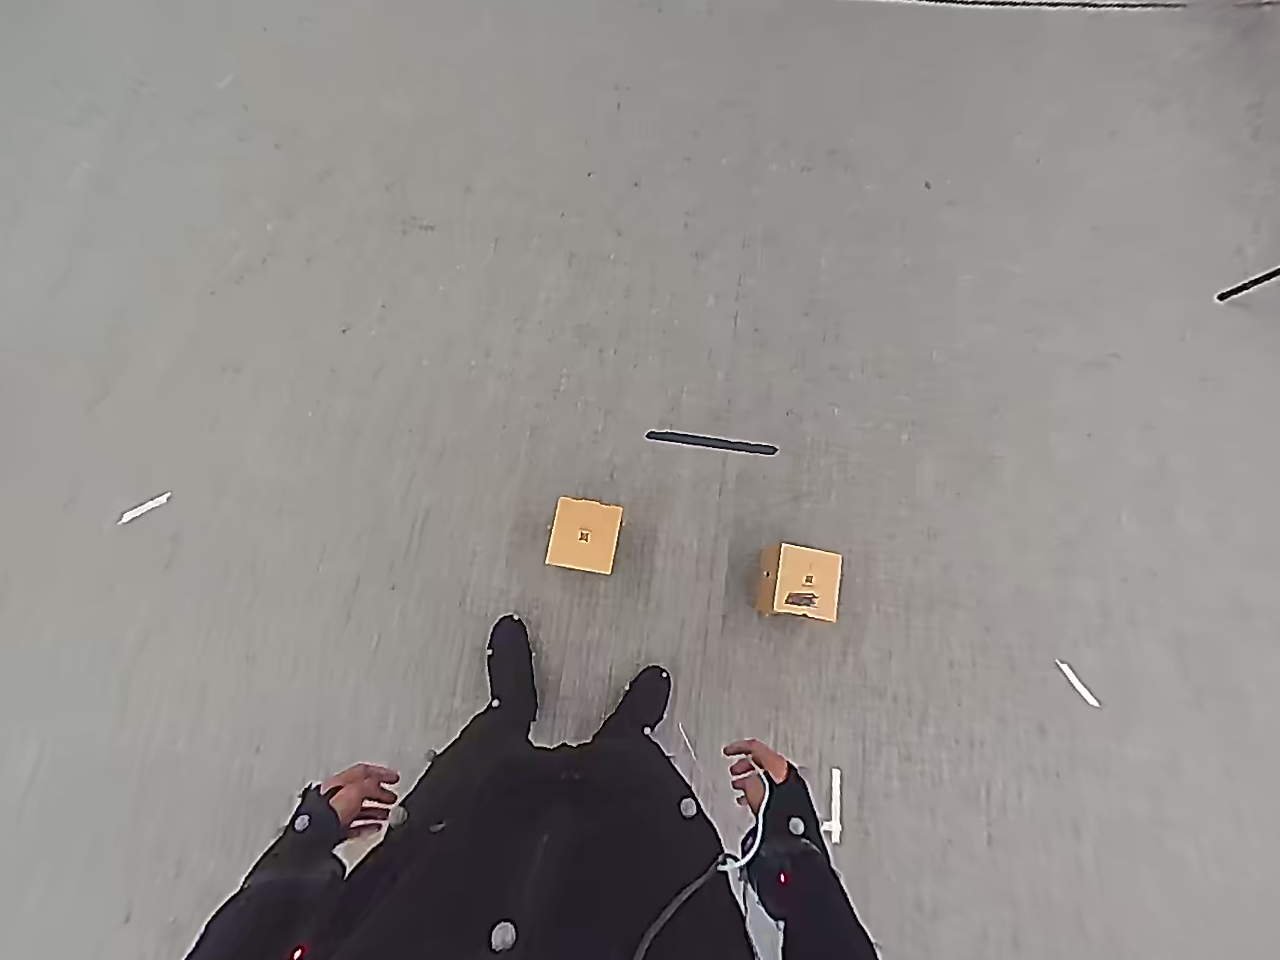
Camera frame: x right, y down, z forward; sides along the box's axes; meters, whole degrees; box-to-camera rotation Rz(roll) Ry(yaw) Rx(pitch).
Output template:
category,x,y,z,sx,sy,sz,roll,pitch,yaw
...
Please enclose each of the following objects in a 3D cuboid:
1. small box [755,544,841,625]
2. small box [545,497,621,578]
category,x,y,z,sx,sy,sz,roll,pitch,yaw
small box,0.415,0.281,1.444,0.168,0.176,0.179,12,76,-3
small box,-0.145,0.159,1.427,0.168,0.176,0.179,10,76,-2
